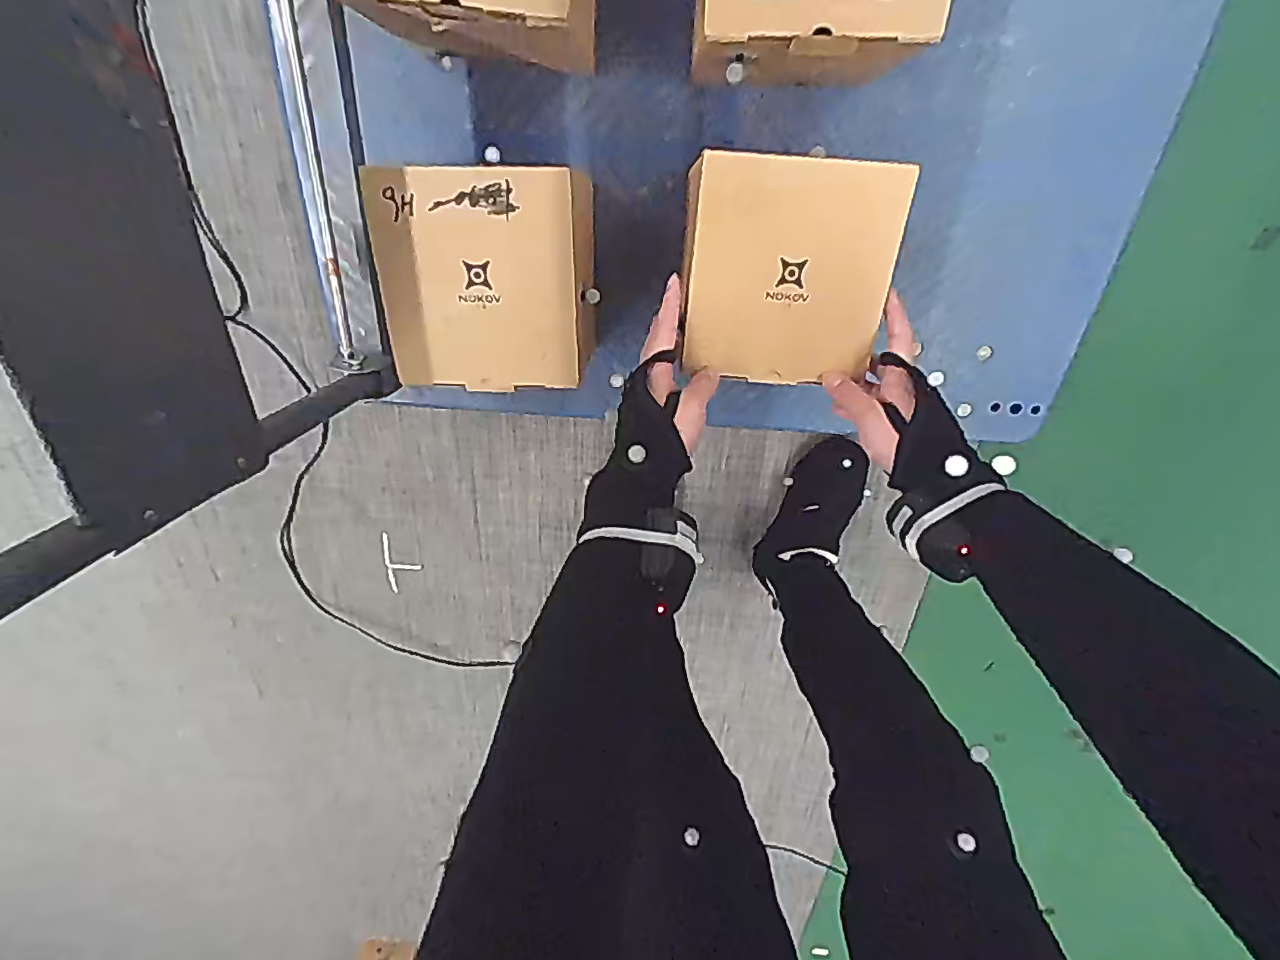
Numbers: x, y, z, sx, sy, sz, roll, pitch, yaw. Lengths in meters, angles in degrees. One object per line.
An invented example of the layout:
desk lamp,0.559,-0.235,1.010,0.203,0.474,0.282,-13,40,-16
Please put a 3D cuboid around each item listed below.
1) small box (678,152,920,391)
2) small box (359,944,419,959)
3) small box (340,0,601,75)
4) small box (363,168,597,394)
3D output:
small box,0.127,-0.198,0.514,0.168,0.176,0.179,4,117,0
small box,-0.762,1.508,1.582,0.168,0.176,0.179,13,115,-7
small box,-0.115,-0.430,0.403,0.168,0.176,0.179,6,116,-2
small box,-0.131,-0.194,0.520,0.168,0.176,0.179,2,117,1
